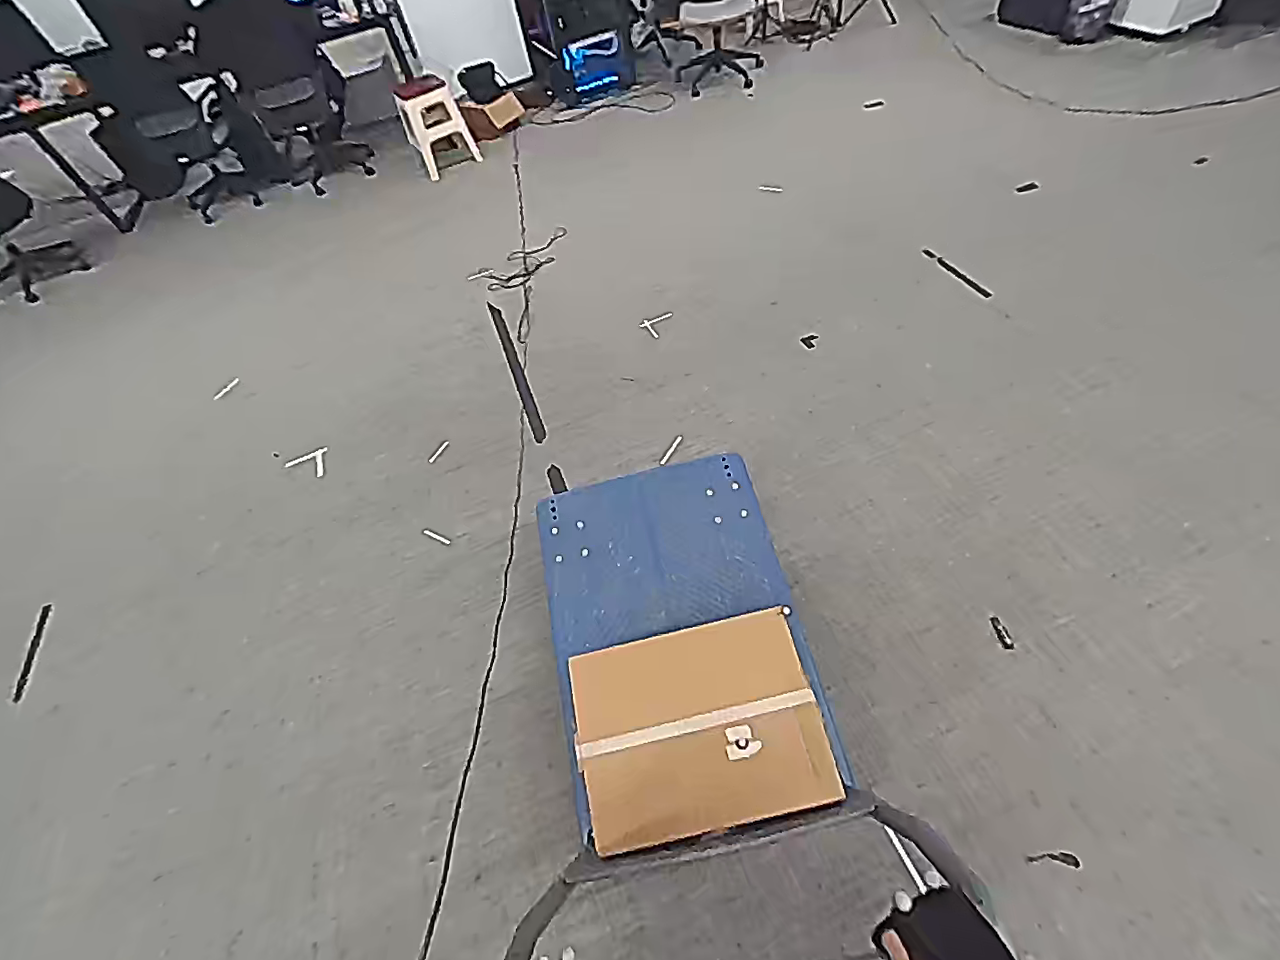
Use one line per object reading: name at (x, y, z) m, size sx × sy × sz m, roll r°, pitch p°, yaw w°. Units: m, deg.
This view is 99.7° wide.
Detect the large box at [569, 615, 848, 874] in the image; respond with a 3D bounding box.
large box at (0.112, 0.489, 1.025) m, size 0.408 × 0.320 × 0.320 m, roll -14°, pitch 63°, yaw 0°
